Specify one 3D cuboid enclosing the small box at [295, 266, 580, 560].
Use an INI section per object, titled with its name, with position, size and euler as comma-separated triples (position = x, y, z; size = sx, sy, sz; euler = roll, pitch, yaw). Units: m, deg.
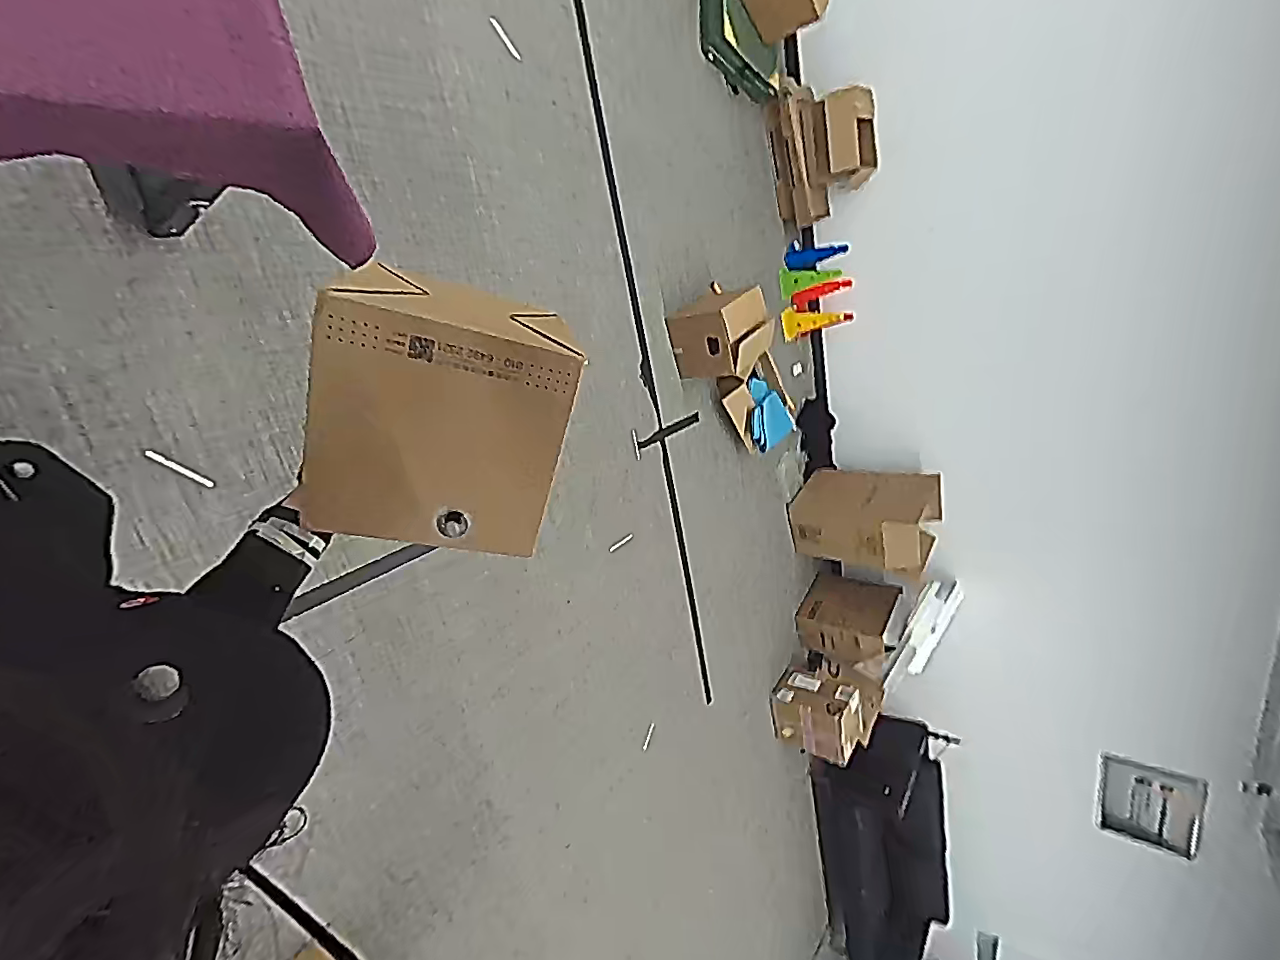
[small box]
position = -0.156, -0.062, 0.440
size = 0.168, 0.179, 0.176
euler = 11, 113, -20
